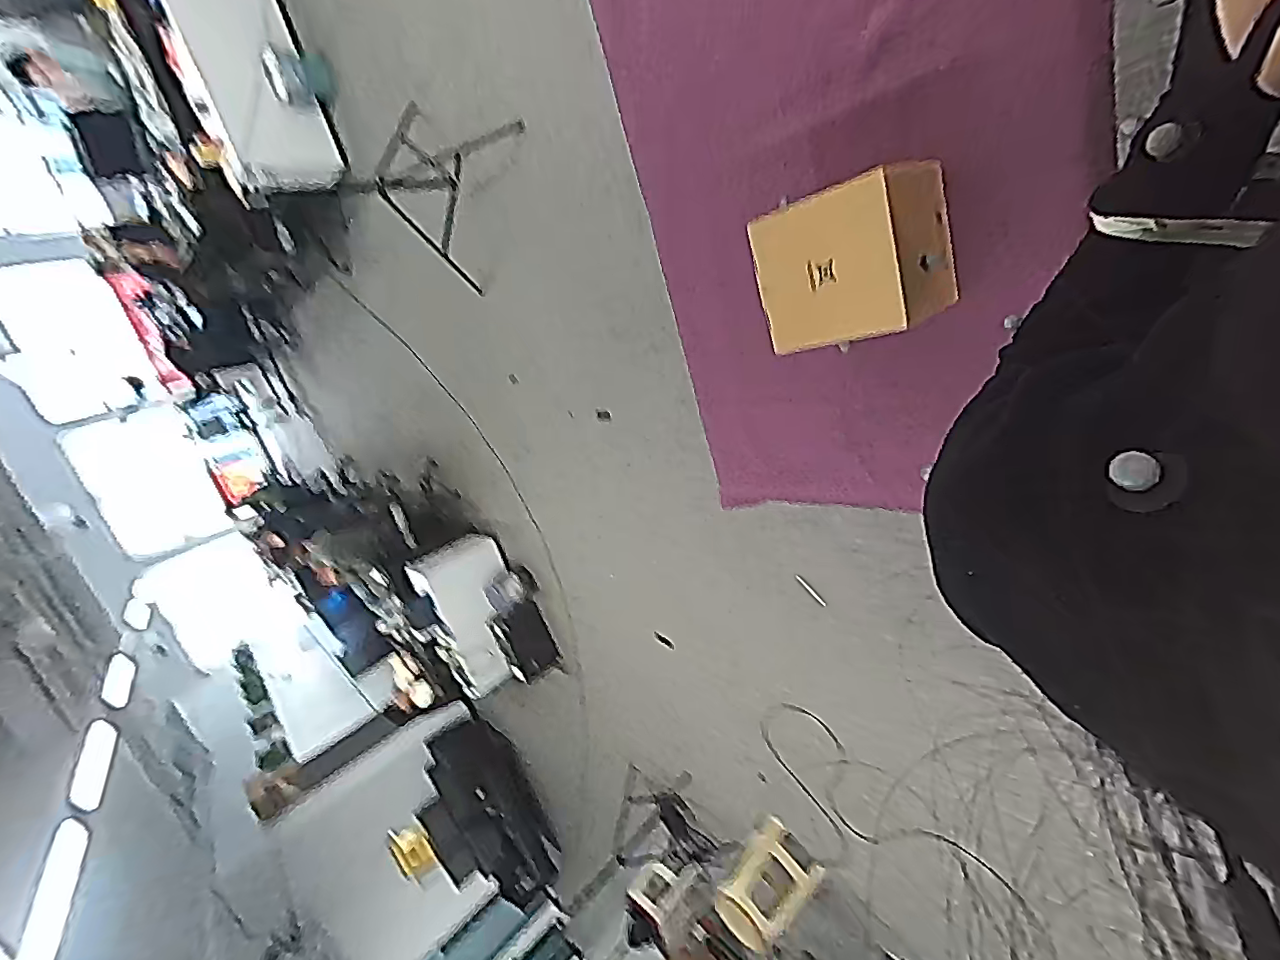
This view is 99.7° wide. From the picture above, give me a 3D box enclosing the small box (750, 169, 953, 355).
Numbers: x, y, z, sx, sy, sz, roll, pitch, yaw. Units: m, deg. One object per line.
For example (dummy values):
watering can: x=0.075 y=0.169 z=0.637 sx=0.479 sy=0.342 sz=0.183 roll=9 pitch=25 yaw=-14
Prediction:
small box: x=0.274 y=-0.272 z=0.685 sx=0.179 sy=0.176 sz=0.168 roll=1 pitch=114 yaw=50
